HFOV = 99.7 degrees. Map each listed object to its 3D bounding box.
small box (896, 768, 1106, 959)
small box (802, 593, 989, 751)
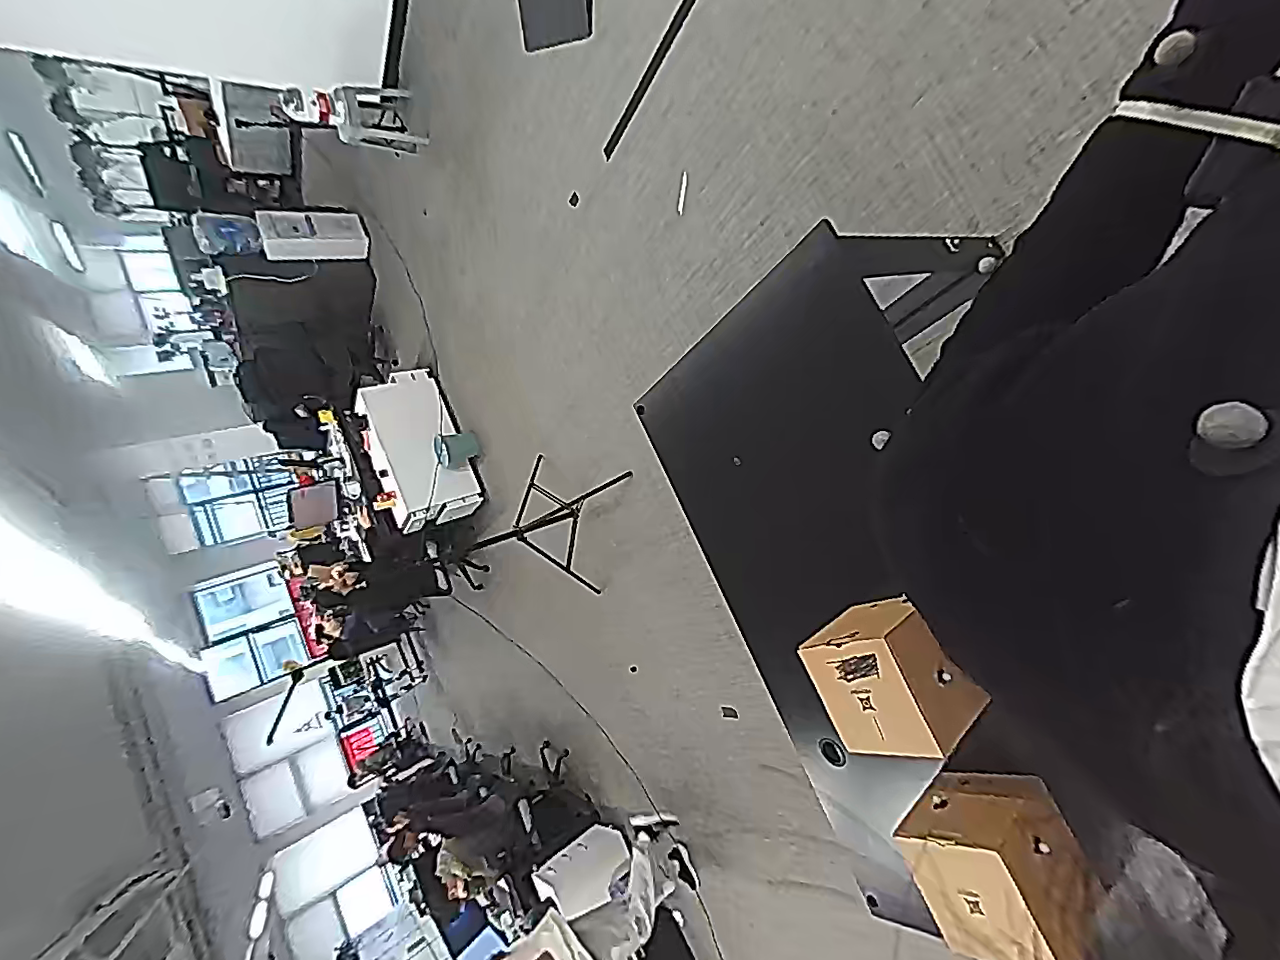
[{"bbox_3d":[0.524,0.549,0.790,0.168,0.176,0.179,-41,73,54],"label":"small box"},{"bbox_3d":[0.395,0.288,0.841,0.168,0.176,0.179,-35,78,54],"label":"small box"}]
